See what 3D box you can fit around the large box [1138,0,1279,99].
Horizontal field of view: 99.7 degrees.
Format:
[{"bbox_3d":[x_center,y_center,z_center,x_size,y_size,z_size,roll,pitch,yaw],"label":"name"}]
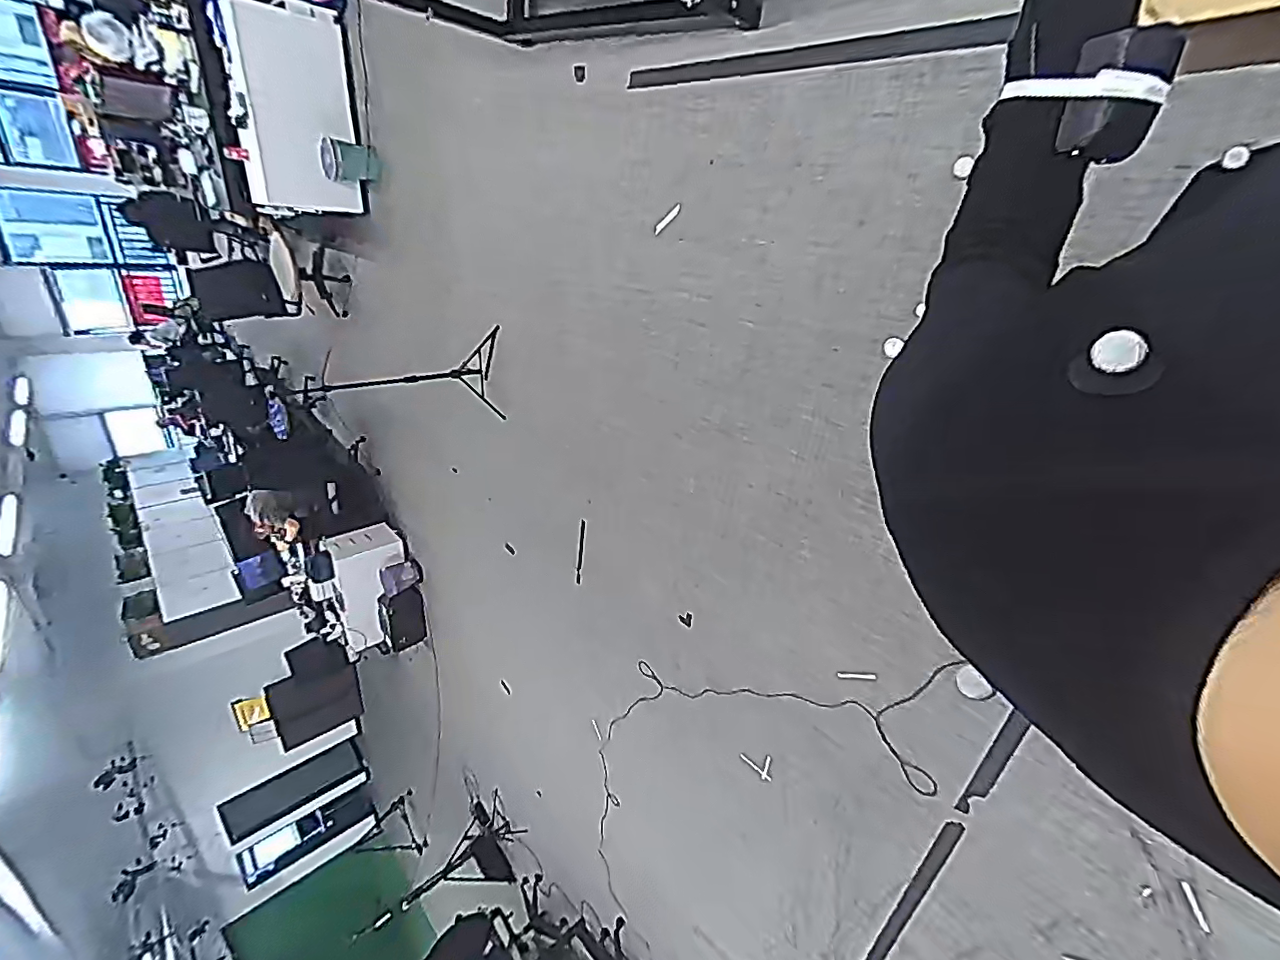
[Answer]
[{"bbox_3d":[0.547,-0.407,0.247,0.408,0.320,0.320,20,126,39],"label":"large box"}]
